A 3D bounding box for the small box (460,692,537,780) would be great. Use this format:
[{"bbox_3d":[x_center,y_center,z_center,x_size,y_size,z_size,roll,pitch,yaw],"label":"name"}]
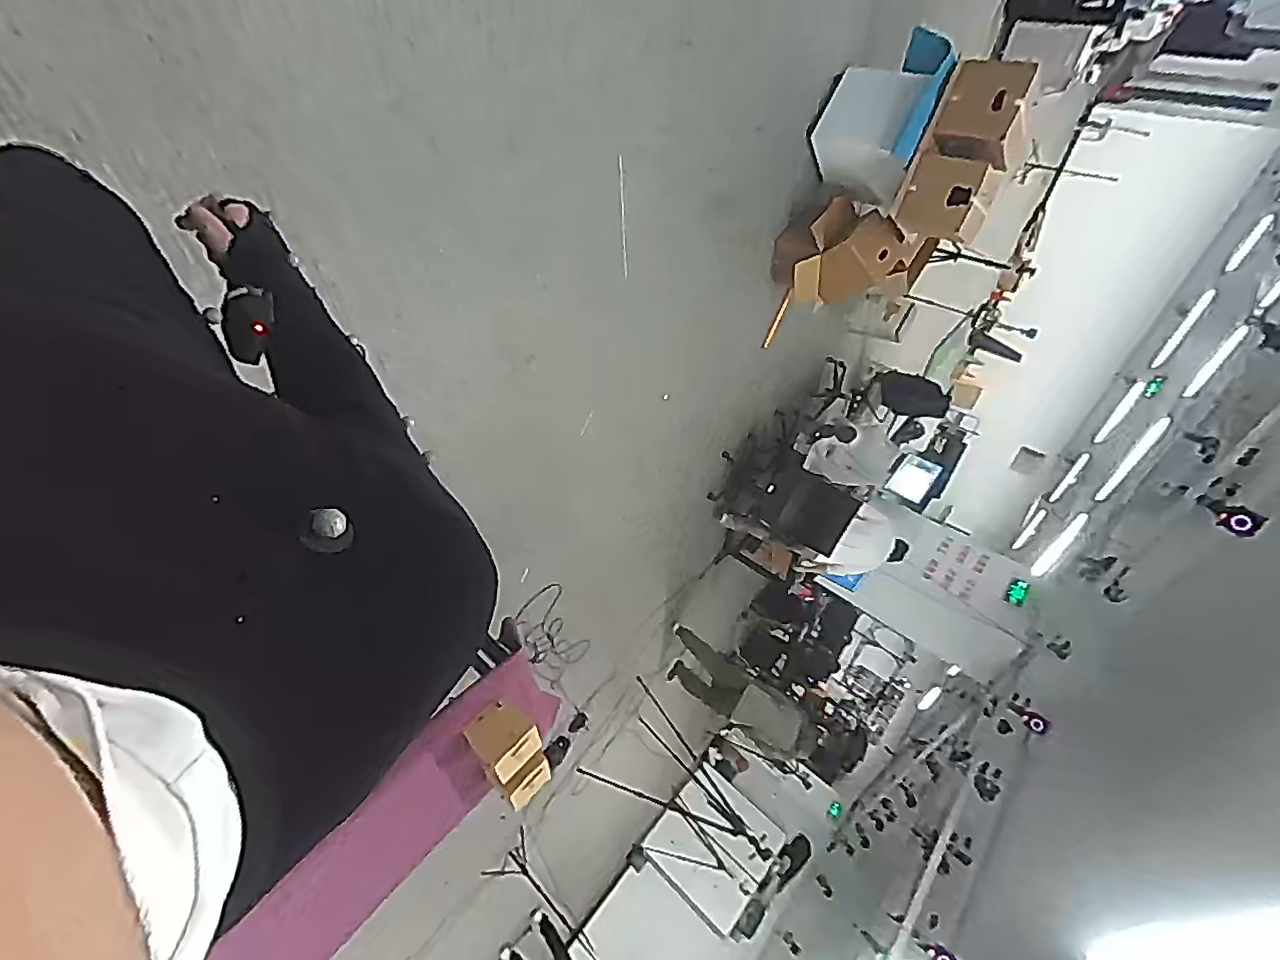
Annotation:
[{"bbox_3d":[-0.462,0.824,1.757,0.168,0.176,0.179,-38,147,-32],"label":"small box"}]
